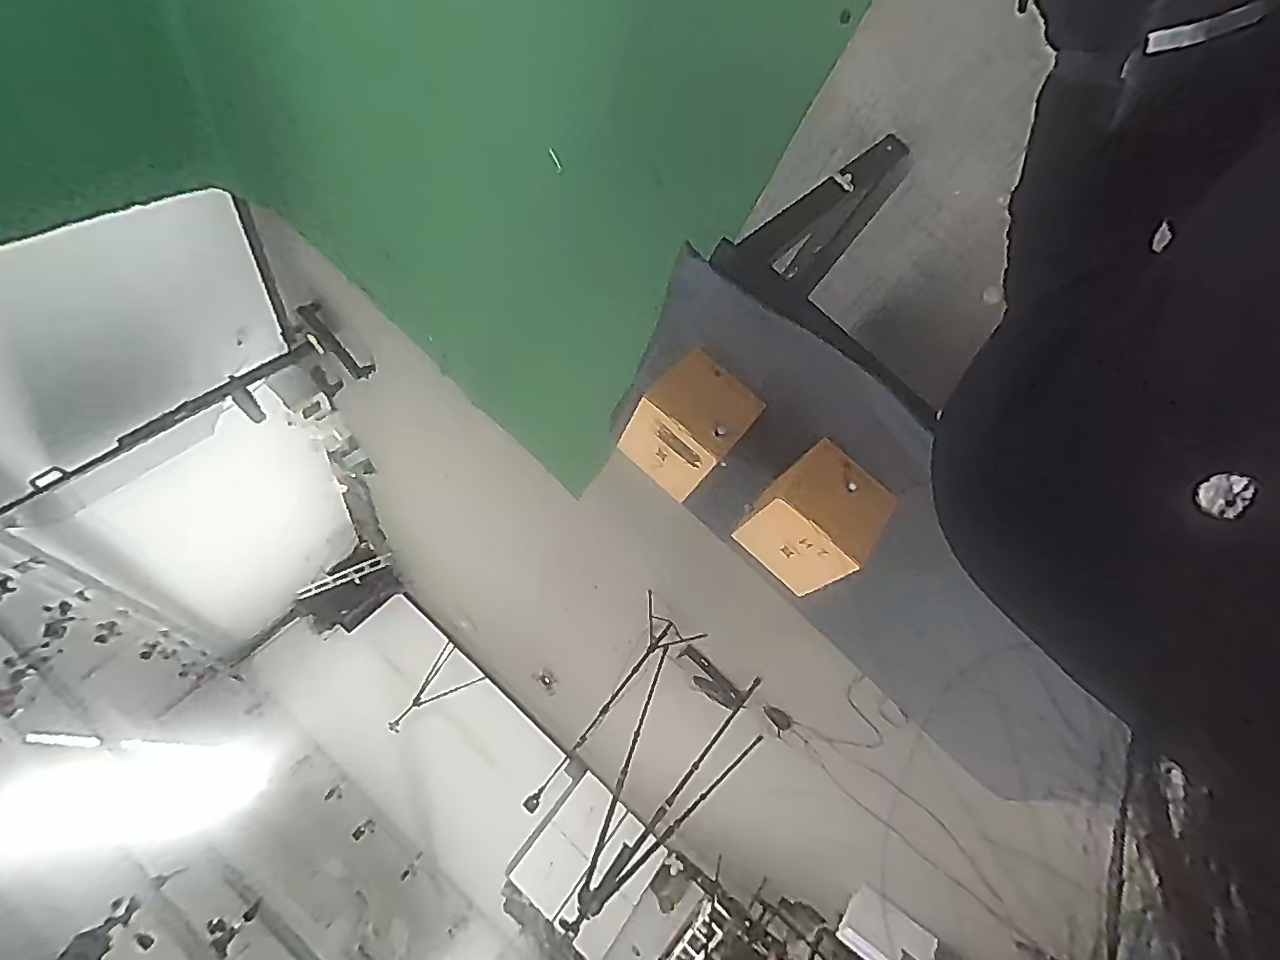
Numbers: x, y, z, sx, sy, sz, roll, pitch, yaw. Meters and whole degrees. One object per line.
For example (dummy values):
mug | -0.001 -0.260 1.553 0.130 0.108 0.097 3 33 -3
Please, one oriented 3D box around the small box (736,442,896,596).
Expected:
small box | 0.305 0.068 0.939 0.168 0.176 0.179 41 148 5
